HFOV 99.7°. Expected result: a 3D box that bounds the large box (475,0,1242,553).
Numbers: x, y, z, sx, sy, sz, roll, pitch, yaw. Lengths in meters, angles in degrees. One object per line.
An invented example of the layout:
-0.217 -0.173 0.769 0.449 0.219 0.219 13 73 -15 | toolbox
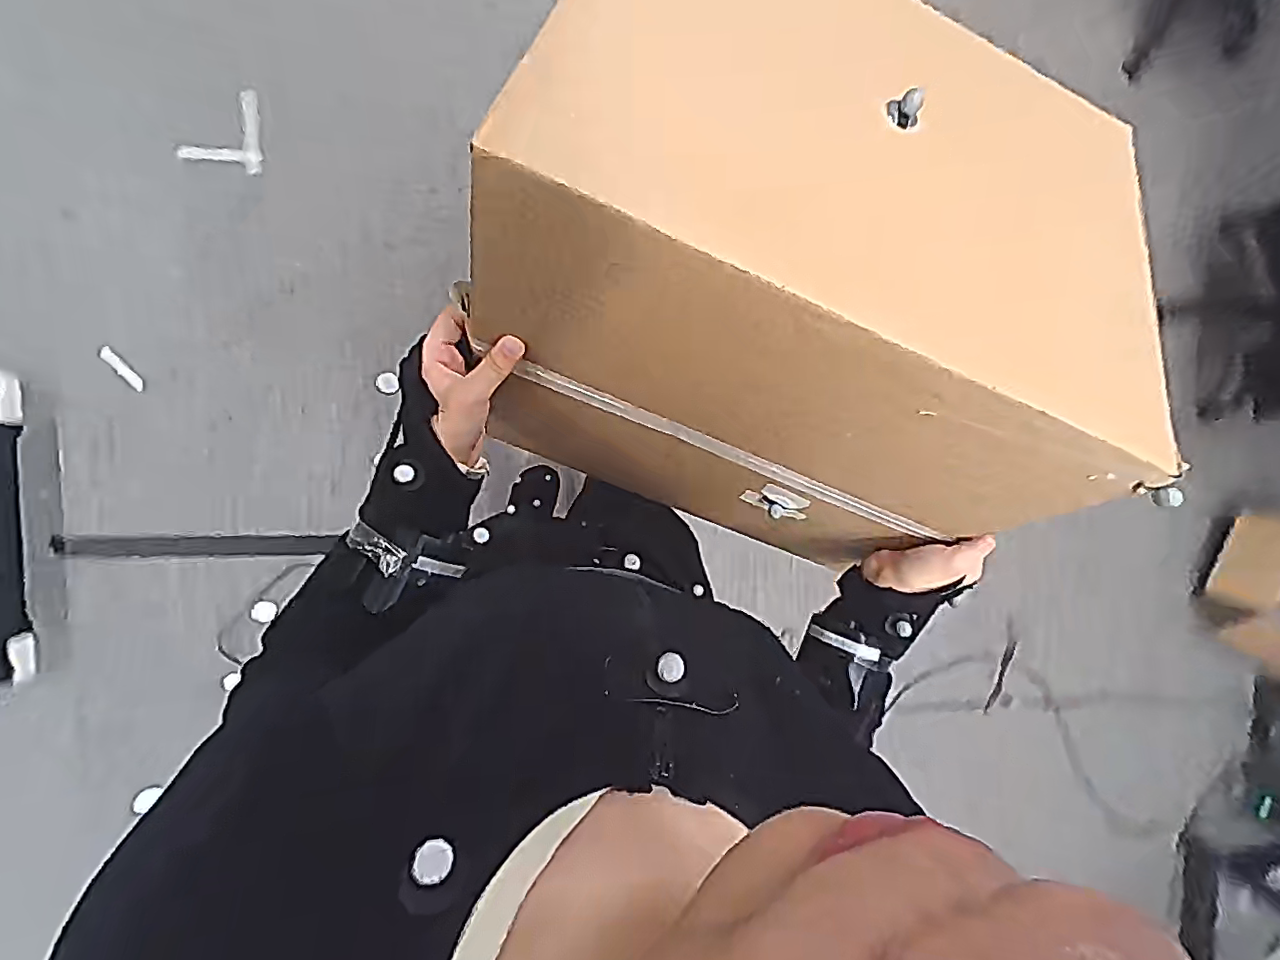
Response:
0.116 -0.172 0.439 0.408 0.320 0.320 19 68 -9 | large box
